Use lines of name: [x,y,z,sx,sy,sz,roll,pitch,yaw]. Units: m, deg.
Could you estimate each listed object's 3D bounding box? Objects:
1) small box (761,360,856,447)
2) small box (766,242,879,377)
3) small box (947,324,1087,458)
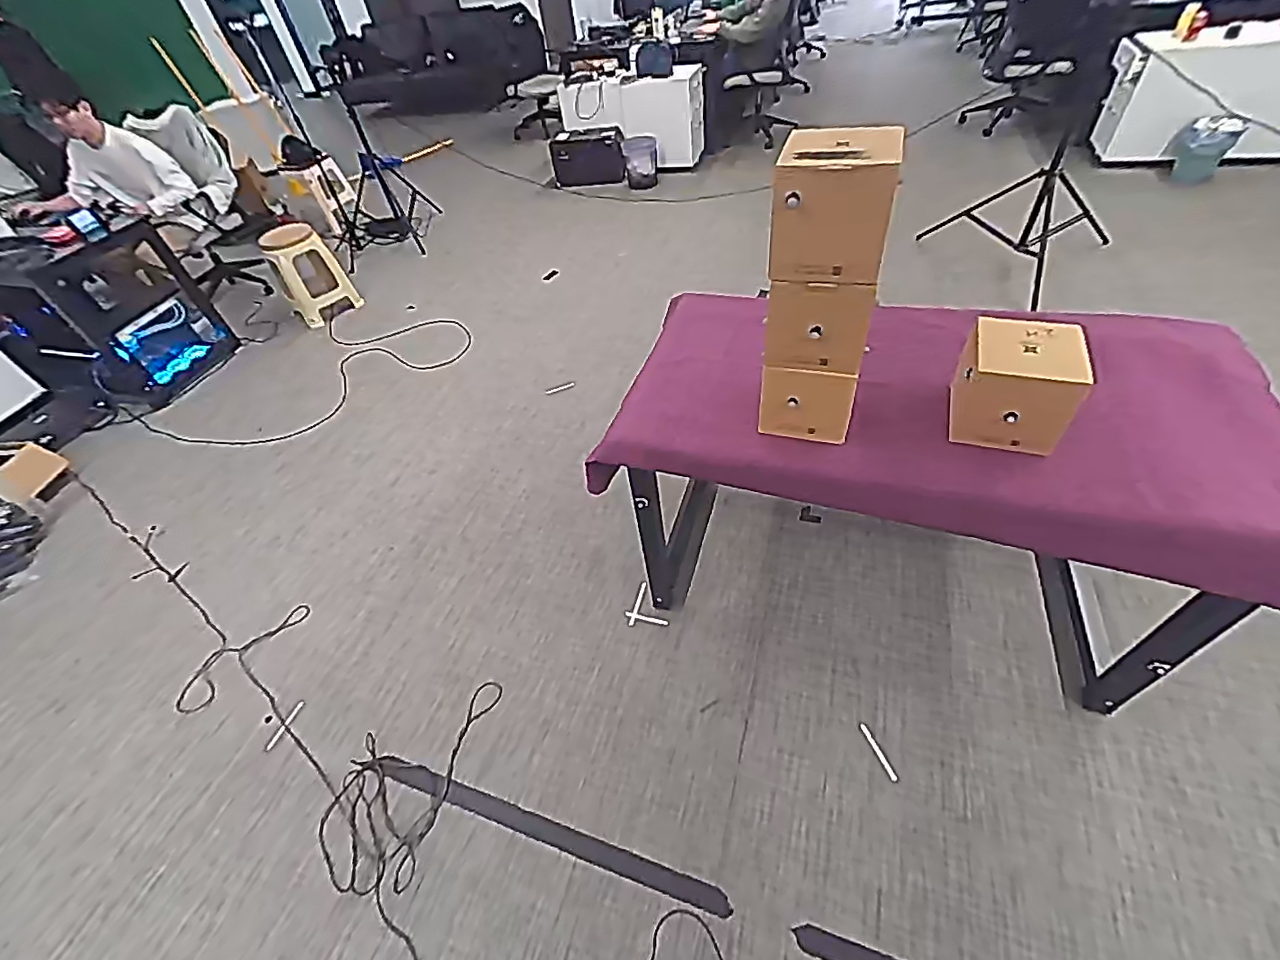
small box: [0.339,-0.188,1.080,0.168,0.176,0.179,11,49,18]
small box: [0.321,-0.304,0.966,0.168,0.176,0.179,9,49,16]
small box: [0.685,-0.164,1.002,0.168,0.176,0.179,12,50,19]
